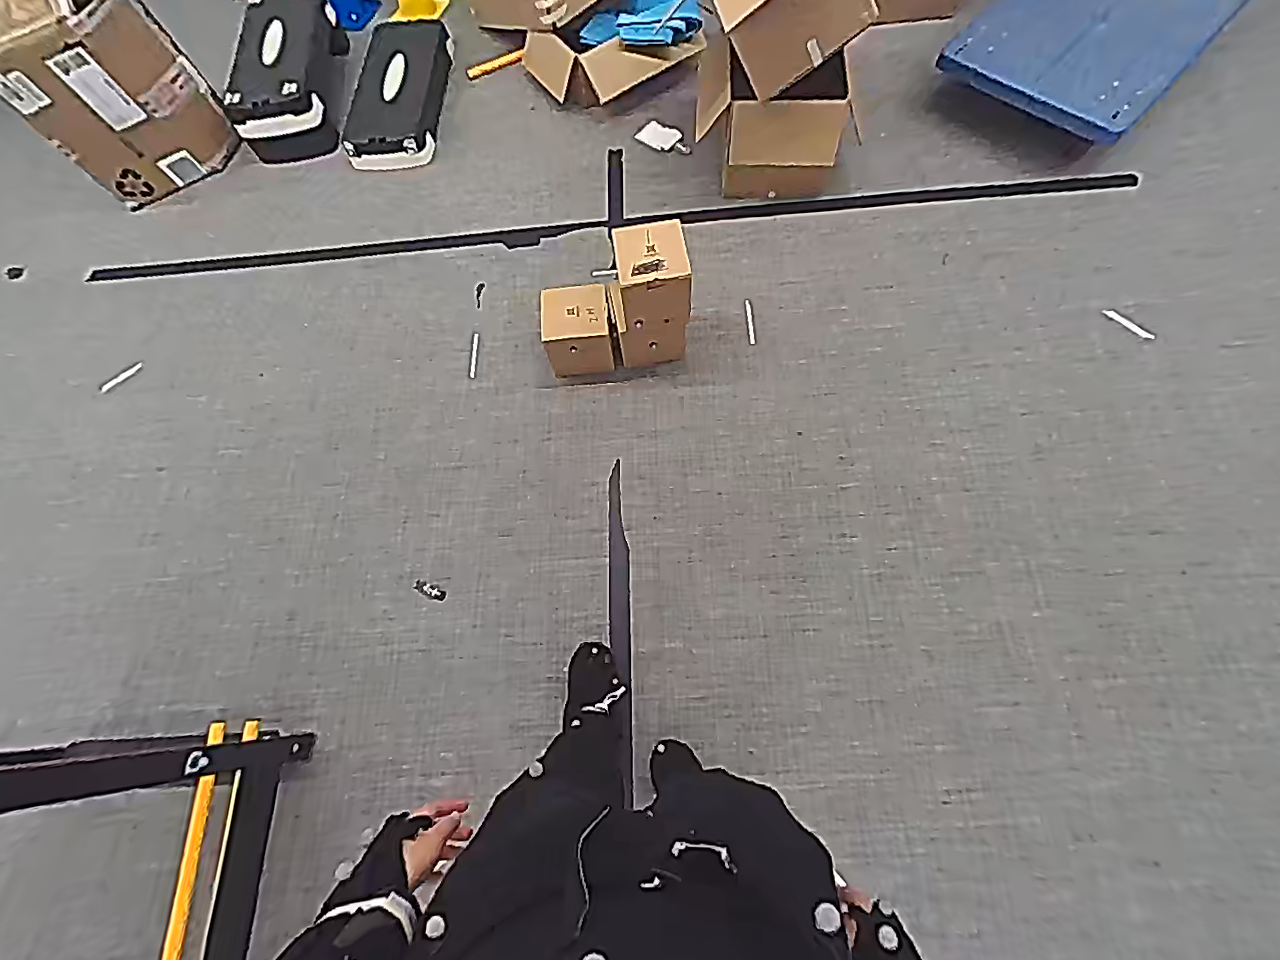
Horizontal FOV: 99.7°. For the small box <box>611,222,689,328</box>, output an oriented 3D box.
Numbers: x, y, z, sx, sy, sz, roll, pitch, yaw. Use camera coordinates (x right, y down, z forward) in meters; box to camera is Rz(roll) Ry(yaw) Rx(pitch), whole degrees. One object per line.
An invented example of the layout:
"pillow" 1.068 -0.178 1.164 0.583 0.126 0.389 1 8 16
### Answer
"small box" 0.027 -0.490 1.322 0.168 0.176 0.179 -9 68 0
